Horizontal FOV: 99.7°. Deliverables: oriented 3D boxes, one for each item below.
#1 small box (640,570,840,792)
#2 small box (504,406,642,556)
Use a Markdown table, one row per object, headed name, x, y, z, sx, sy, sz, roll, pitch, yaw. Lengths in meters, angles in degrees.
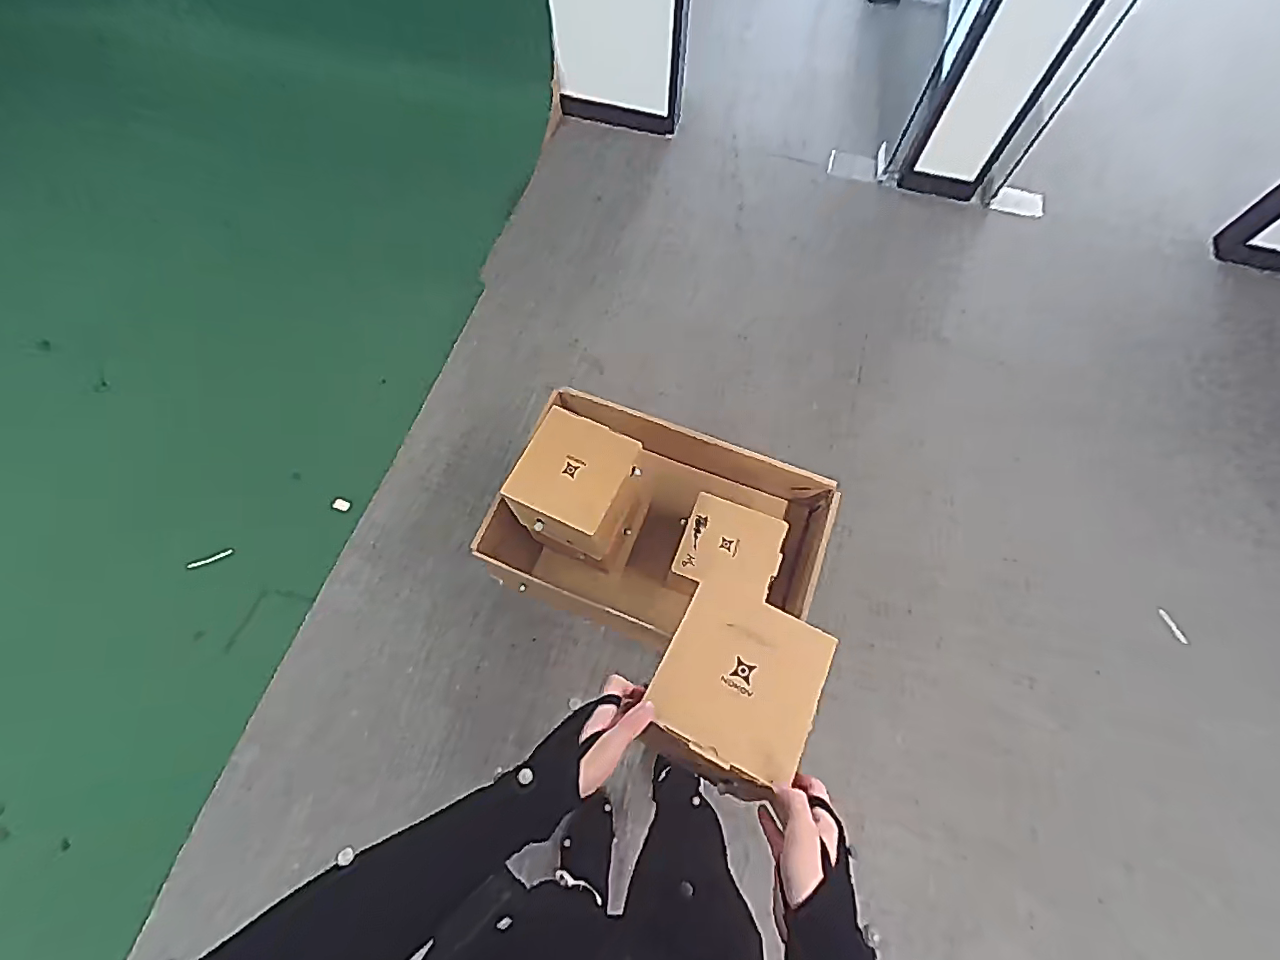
| name | x | y | z | sx | sy | sz | roll | pitch | yaw |
| --- | --- | --- | --- | --- | --- | --- | --- | --- | --- |
| small box | 0.108 | 0.245 | 0.643 | 0.168 | 0.176 | 0.179 | 26 | 59 | 11 |
| small box | -0.102 | 0.010 | 0.926 | 0.168 | 0.176 | 0.179 | 24 | 69 | 9 |
